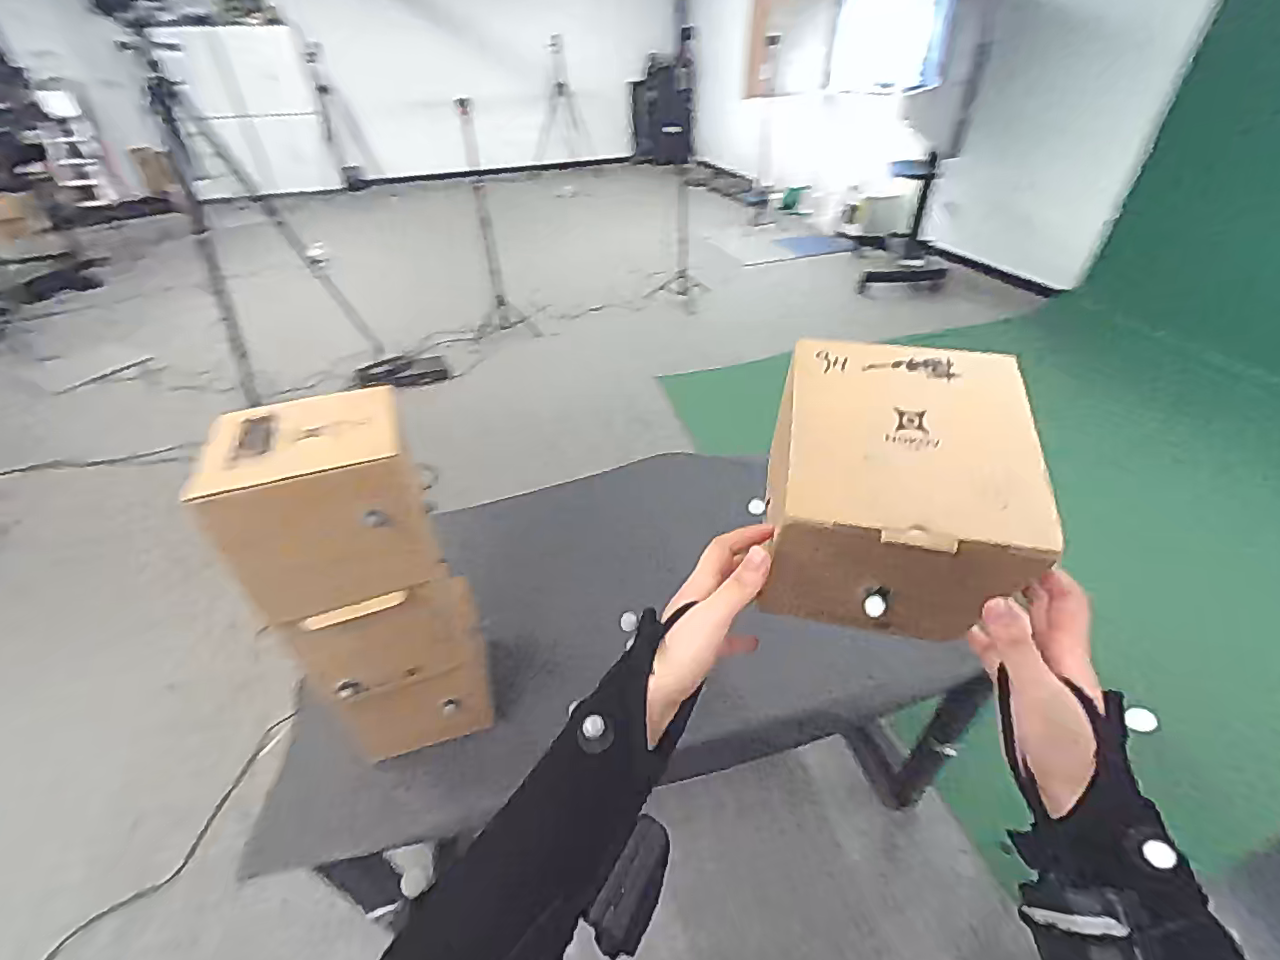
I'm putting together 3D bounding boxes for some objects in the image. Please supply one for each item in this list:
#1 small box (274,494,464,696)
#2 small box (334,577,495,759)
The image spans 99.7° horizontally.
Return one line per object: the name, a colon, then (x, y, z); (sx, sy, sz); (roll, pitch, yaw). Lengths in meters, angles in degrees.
small box: (-0.335, 0.150, 0.698); (0.168, 0.176, 0.179); (-15, 38, -16)
small box: (-0.319, 0.276, 0.802); (0.179, 0.176, 0.168); (-13, 38, -12)
